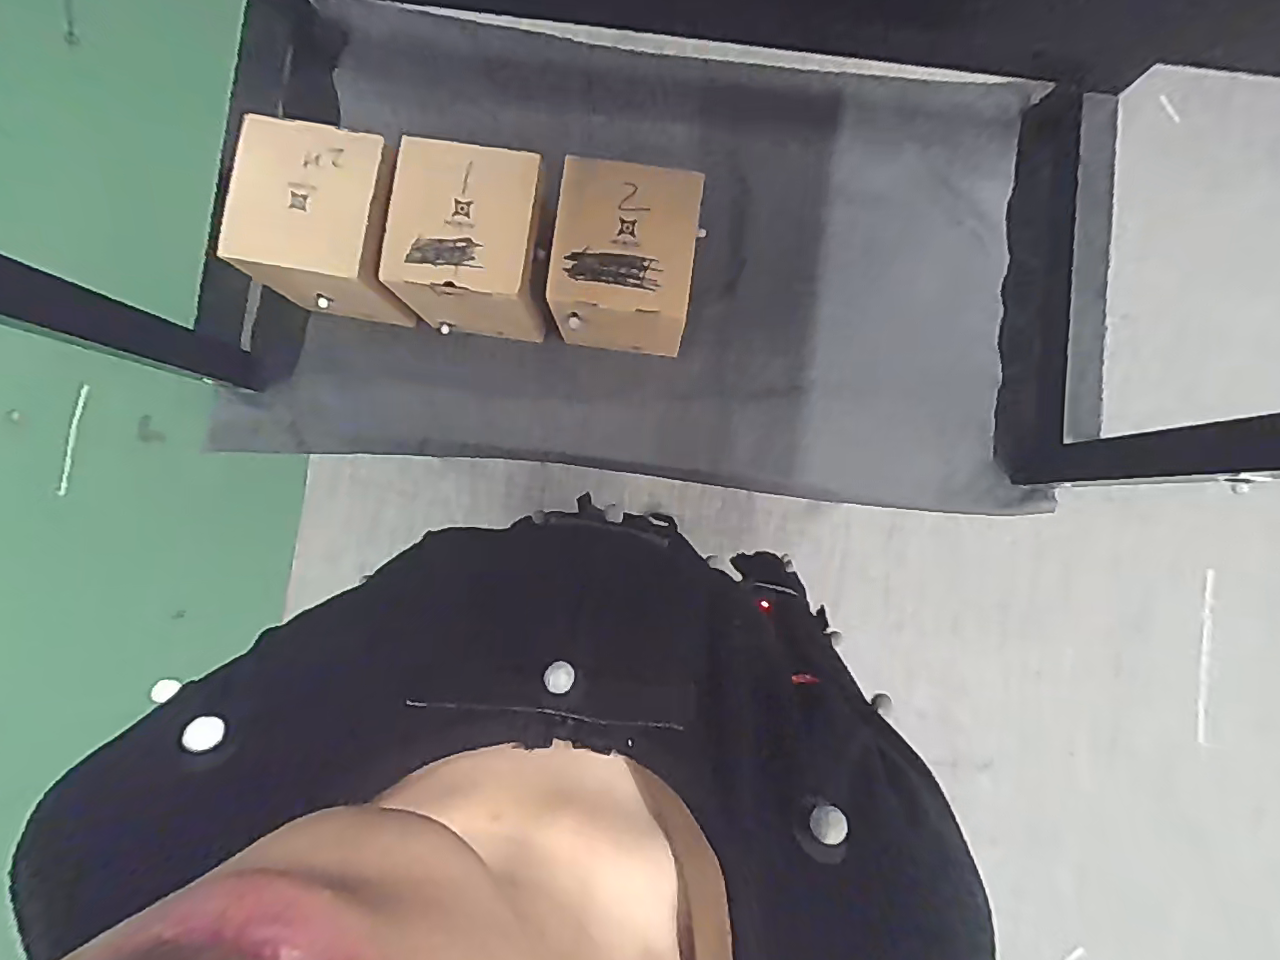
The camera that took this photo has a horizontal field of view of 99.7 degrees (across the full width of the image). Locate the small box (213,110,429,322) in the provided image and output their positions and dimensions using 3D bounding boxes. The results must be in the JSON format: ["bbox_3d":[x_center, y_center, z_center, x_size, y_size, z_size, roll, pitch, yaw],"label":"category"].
[{"bbox_3d":[-0.390,-0.321,0.694,0.168,0.176,0.179,10,87,-1],"label":"small box"}]
